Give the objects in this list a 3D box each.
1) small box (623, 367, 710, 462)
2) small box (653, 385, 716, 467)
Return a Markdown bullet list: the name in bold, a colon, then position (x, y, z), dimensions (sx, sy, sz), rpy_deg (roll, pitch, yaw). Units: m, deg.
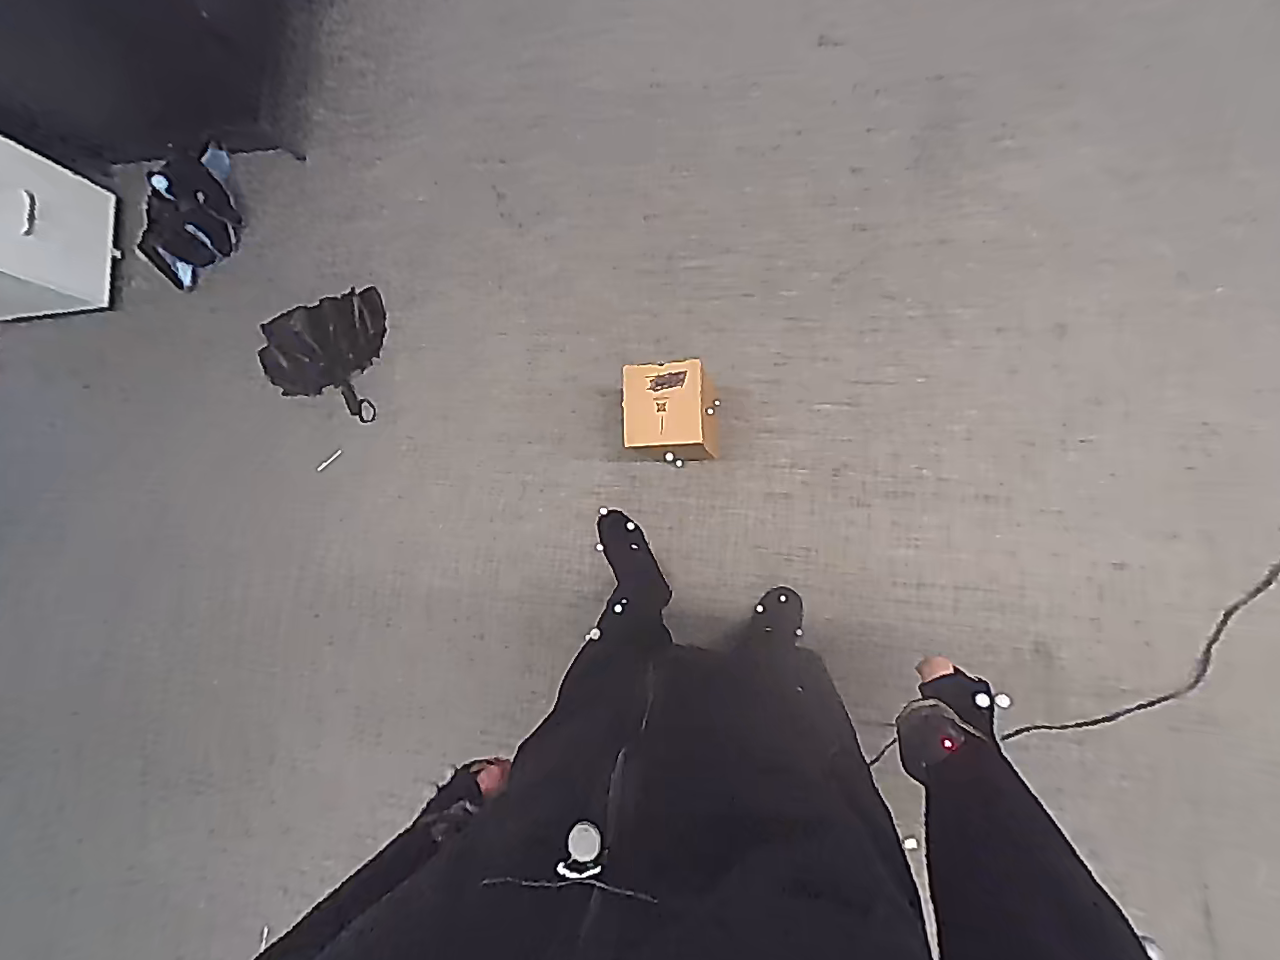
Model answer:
- **small box**: position (0.062, -0.137, 1.191), dimensions (0.168, 0.176, 0.179), rpy_deg (-2, 85, 13)
- **small box**: position (0.100, -0.130, 1.351), dimensions (0.168, 0.176, 0.179), rpy_deg (-1, 86, 13)
